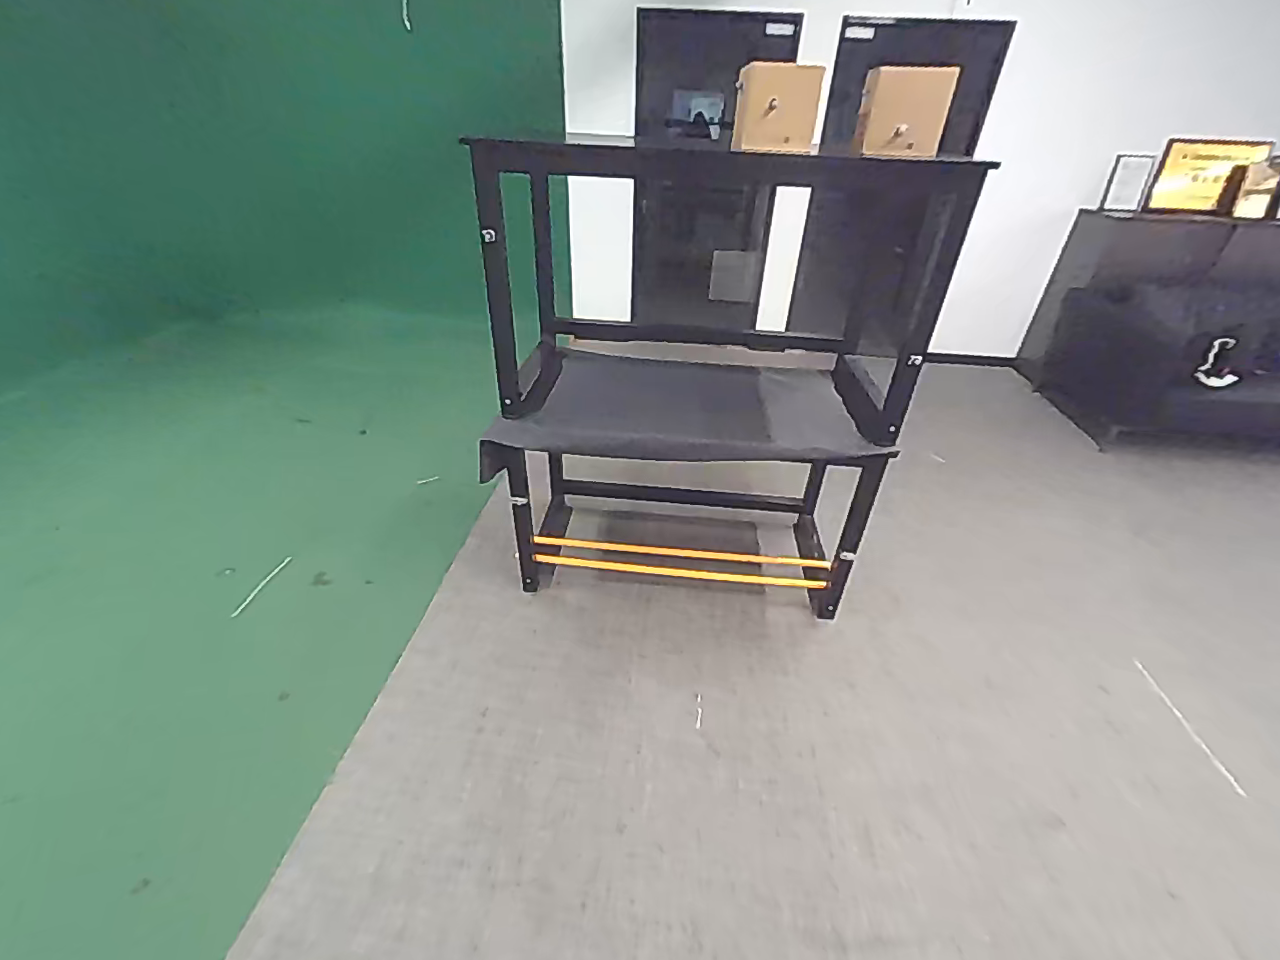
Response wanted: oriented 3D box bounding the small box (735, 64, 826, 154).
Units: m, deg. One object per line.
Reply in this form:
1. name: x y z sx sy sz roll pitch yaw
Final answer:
1. small box: 0.327 -0.883 1.295 0.168 0.176 0.179 2 33 -1

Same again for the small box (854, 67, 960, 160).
1. small box: 0.620 -0.866 1.281 0.168 0.176 0.179 7 35 8
